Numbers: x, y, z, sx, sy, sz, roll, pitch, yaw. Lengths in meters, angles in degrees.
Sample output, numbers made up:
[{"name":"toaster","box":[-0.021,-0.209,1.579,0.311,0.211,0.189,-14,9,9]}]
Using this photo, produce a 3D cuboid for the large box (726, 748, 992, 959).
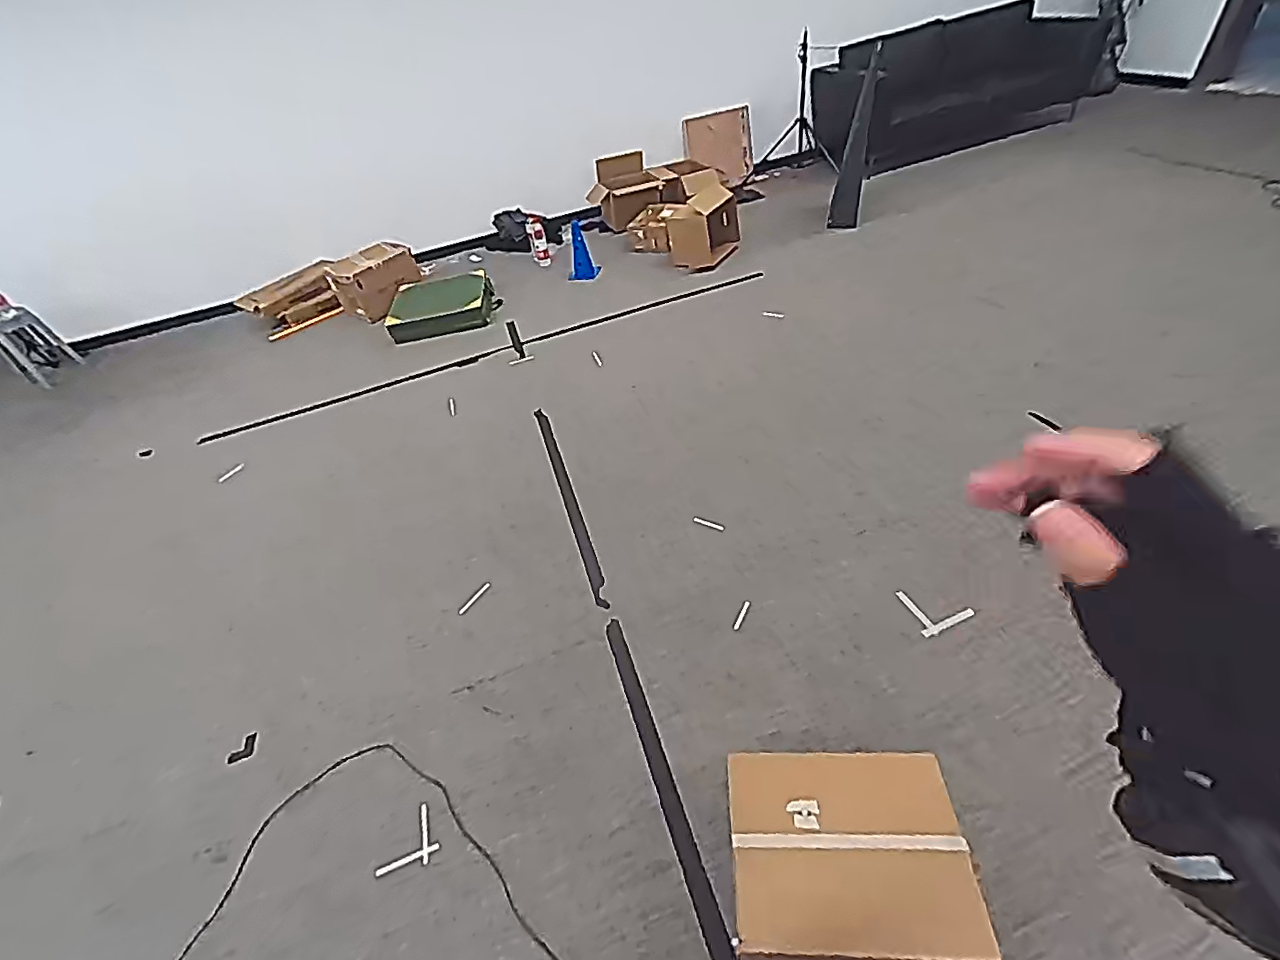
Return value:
[{"name":"large box","box":[0.394,0.763,1.088,0.408,0.320,0.320,-5,42,8]}]
